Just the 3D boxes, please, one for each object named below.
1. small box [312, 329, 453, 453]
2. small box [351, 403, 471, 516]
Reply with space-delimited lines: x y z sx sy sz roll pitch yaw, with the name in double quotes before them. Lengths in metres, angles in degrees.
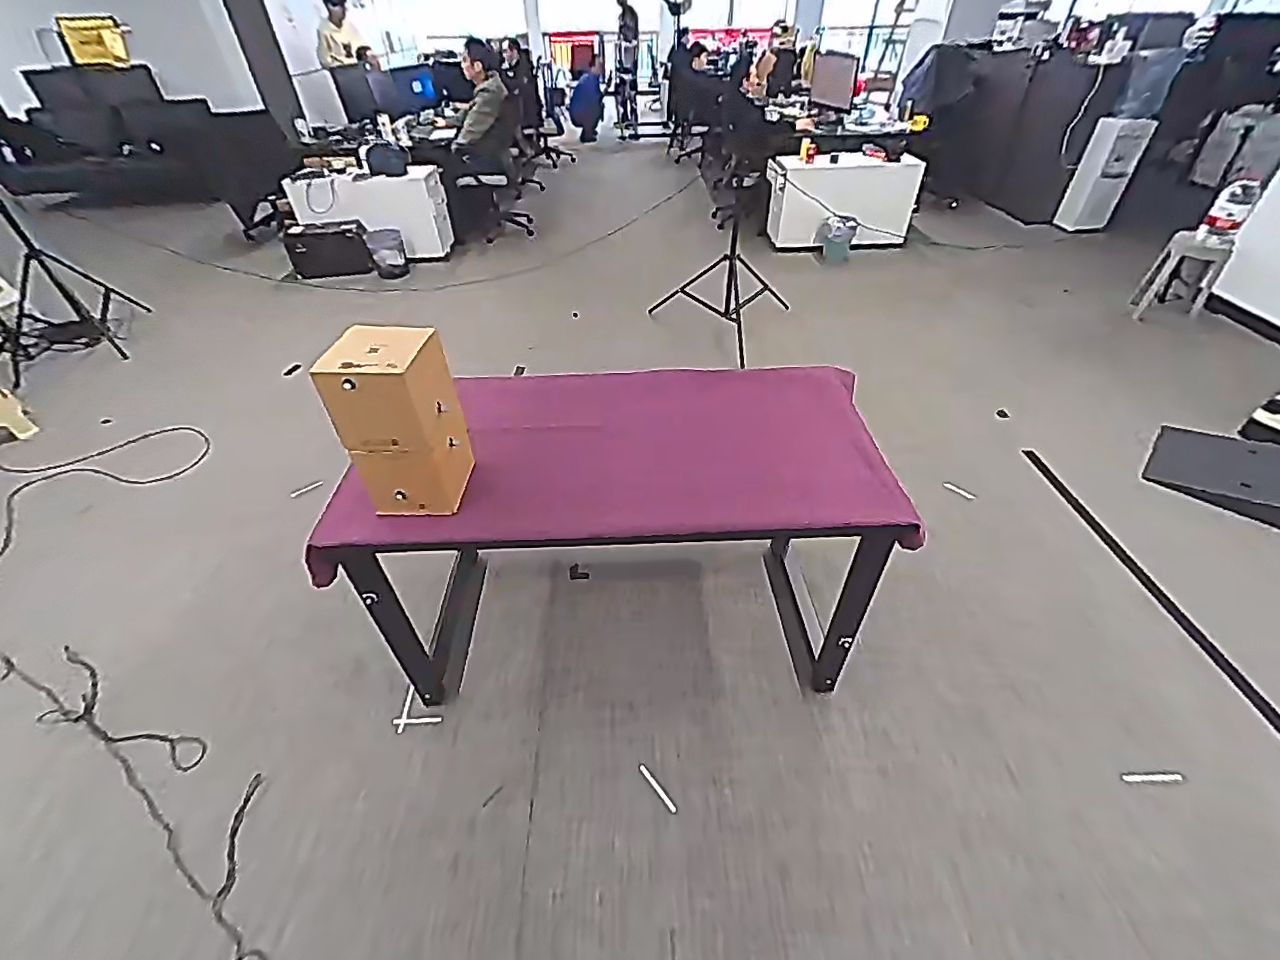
"small box" -0.469 -0.170 1.020 0.168 0.176 0.179 1 40 2
"small box" -0.463 -0.045 1.127 0.168 0.176 0.179 0 41 1
